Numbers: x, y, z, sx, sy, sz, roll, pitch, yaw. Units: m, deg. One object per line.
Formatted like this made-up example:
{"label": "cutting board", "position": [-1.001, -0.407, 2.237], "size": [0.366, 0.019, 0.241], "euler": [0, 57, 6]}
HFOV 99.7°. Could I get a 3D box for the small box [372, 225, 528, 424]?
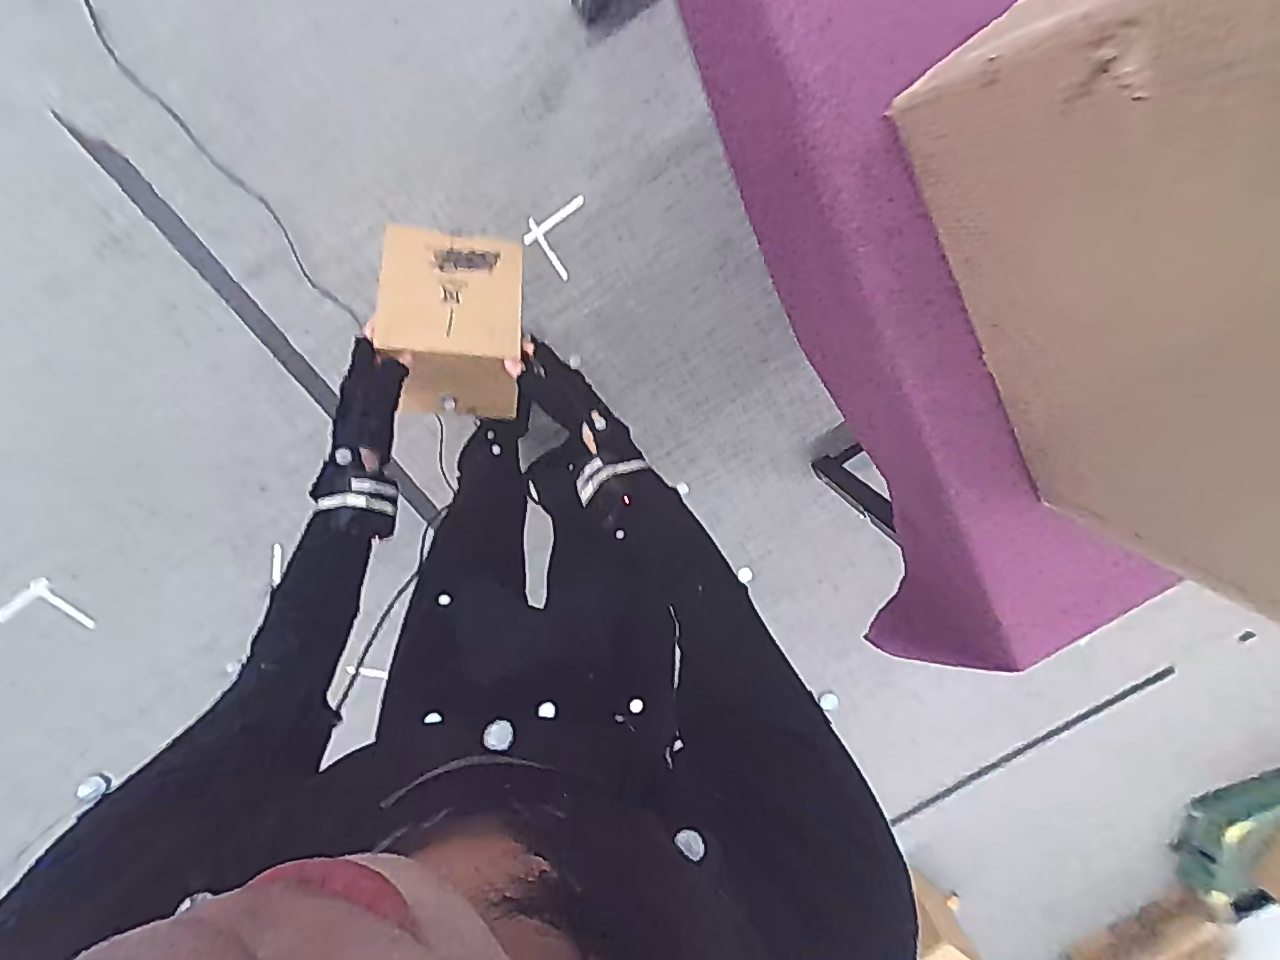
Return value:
{"label": "small box", "position": [-0.240, -0.193, 0.710], "size": [0.168, 0.176, 0.179], "euler": [3, 70, -15]}
